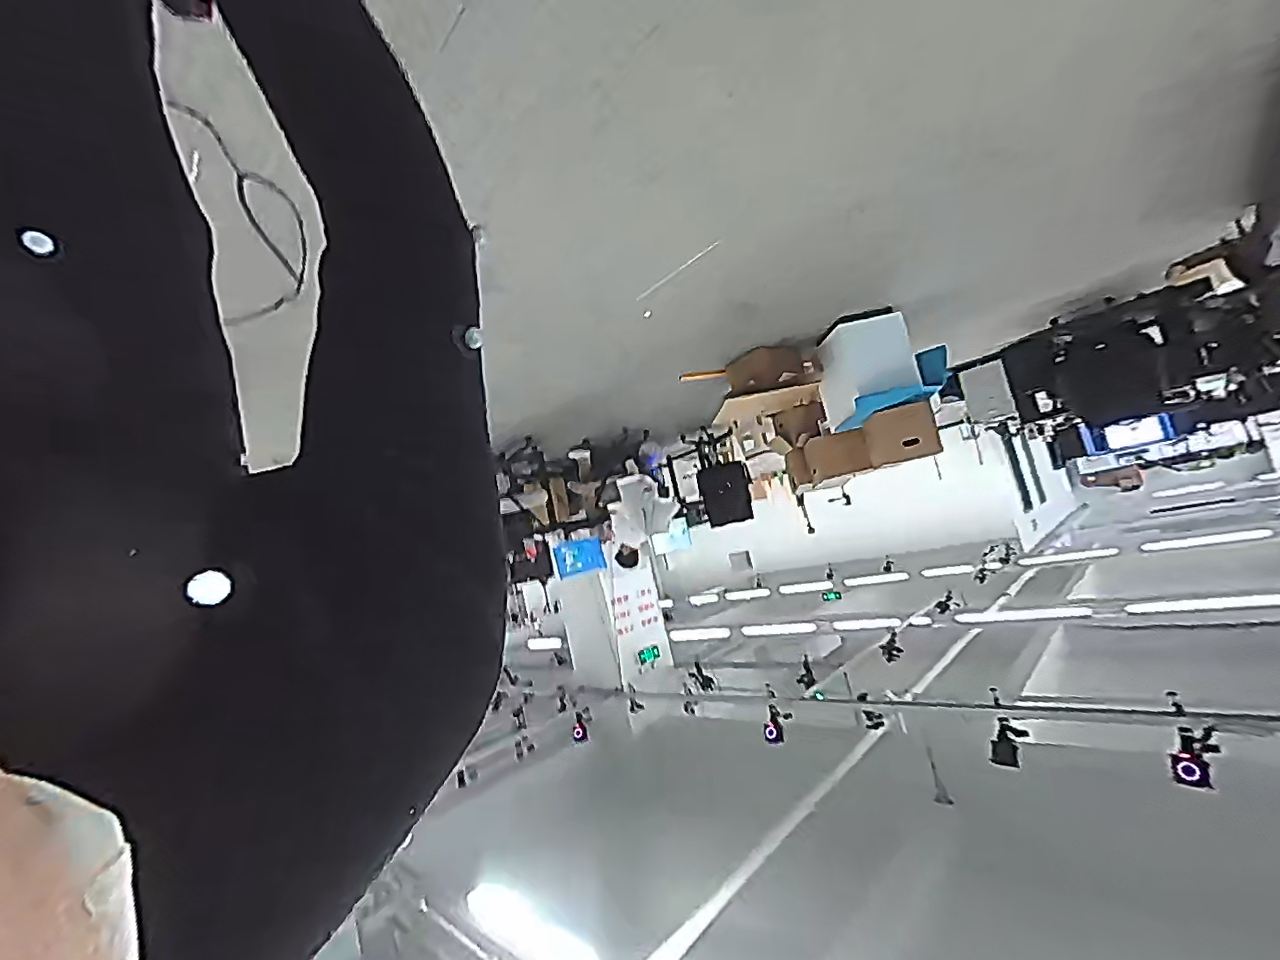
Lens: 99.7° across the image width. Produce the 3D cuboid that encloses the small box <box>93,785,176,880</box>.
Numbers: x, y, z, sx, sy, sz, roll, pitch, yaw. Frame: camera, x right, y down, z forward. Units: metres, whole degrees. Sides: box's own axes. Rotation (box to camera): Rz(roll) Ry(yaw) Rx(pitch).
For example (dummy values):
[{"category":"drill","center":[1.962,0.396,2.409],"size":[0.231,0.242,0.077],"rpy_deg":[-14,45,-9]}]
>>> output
[{"category":"small box","center":[-1.535,1.056,1.639],"size":[0.179,0.176,0.168],"rpy_deg":[-17,172,42]}]
